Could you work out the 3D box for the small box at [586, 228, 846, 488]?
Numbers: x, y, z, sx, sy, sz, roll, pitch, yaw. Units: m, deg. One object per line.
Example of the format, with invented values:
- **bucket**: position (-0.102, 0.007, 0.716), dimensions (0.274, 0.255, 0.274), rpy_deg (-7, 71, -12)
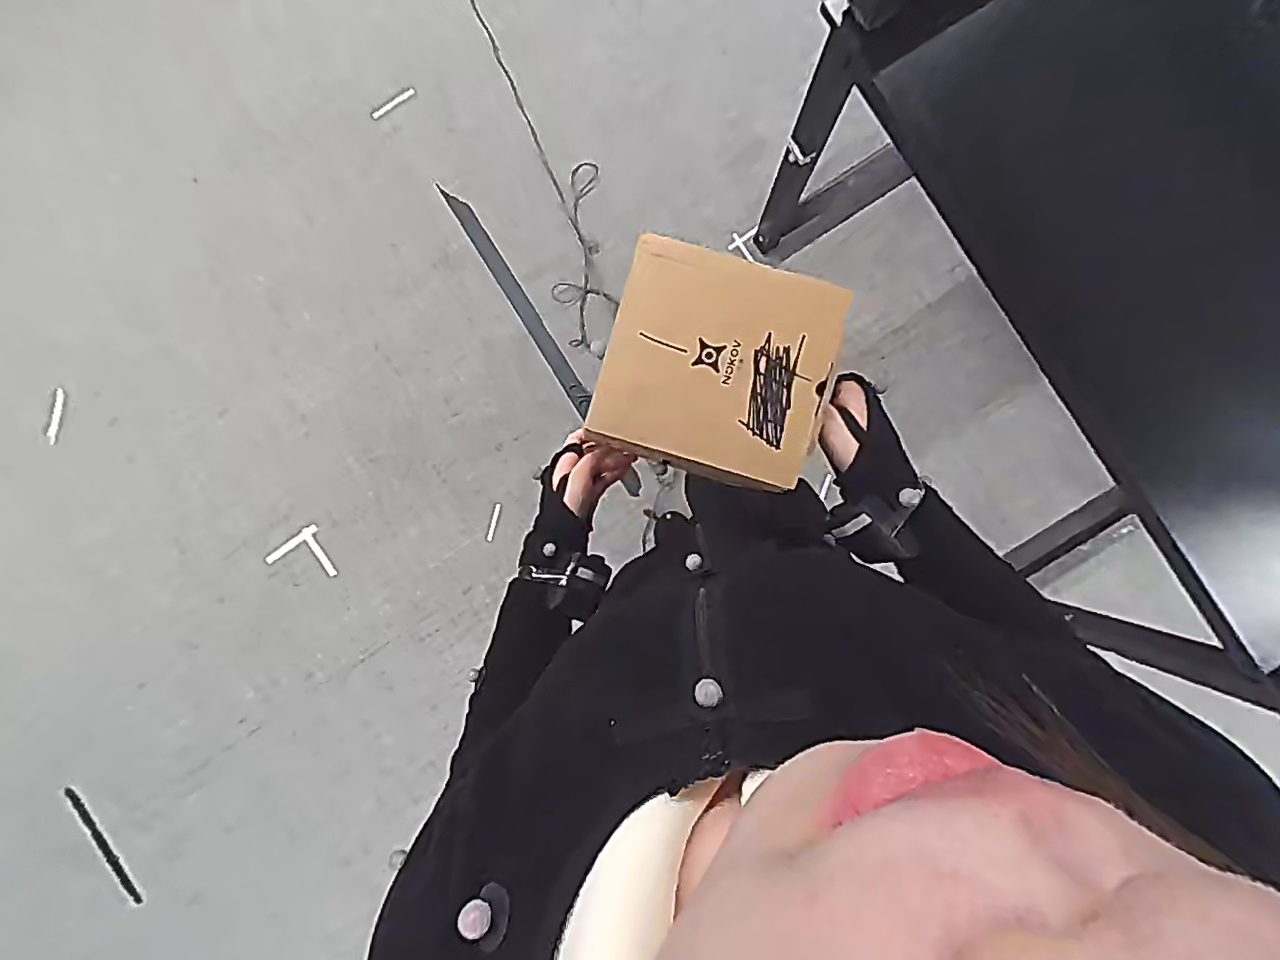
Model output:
- **small box**: position (0.055, -0.097, 0.507), dimensions (0.179, 0.176, 0.168), rpy_deg (16, 89, -6)
